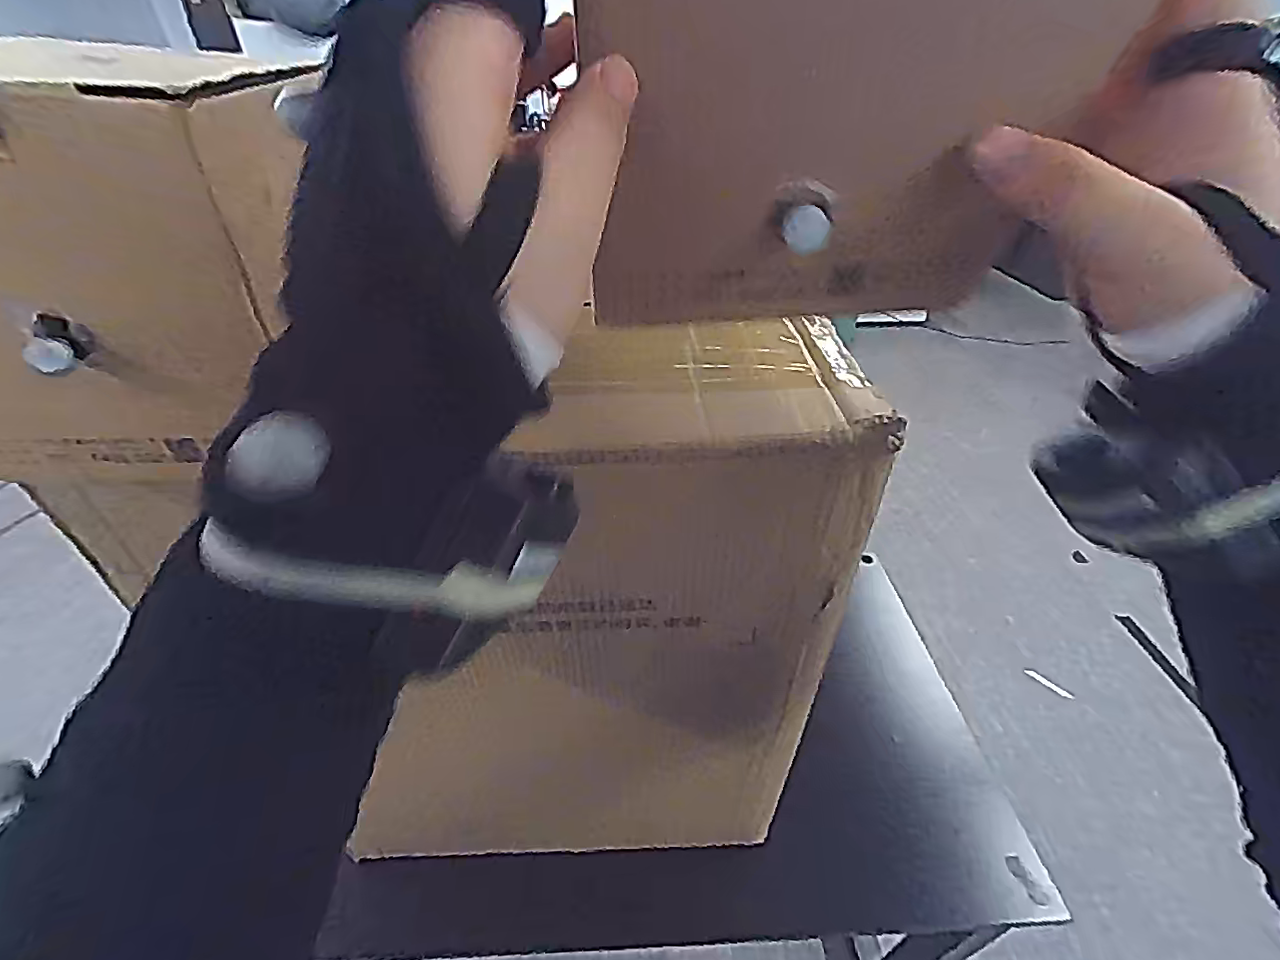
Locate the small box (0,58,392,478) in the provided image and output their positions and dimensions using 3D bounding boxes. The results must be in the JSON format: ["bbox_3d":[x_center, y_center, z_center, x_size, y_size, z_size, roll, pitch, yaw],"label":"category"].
[{"bbox_3d":[-0.252,-0.113,0.290,0.168,0.176,0.179,-1,40,-6],"label":"small box"}]

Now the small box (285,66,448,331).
[{"bbox_3d":[-0.268,-0.231,0.442,0.168,0.176,0.179,-3,37,-3],"label":"small box"}]

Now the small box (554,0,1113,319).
[{"bbox_3d":[0.049,-0.190,0.221,0.168,0.176,0.179,-5,57,-4],"label":"small box"}]
